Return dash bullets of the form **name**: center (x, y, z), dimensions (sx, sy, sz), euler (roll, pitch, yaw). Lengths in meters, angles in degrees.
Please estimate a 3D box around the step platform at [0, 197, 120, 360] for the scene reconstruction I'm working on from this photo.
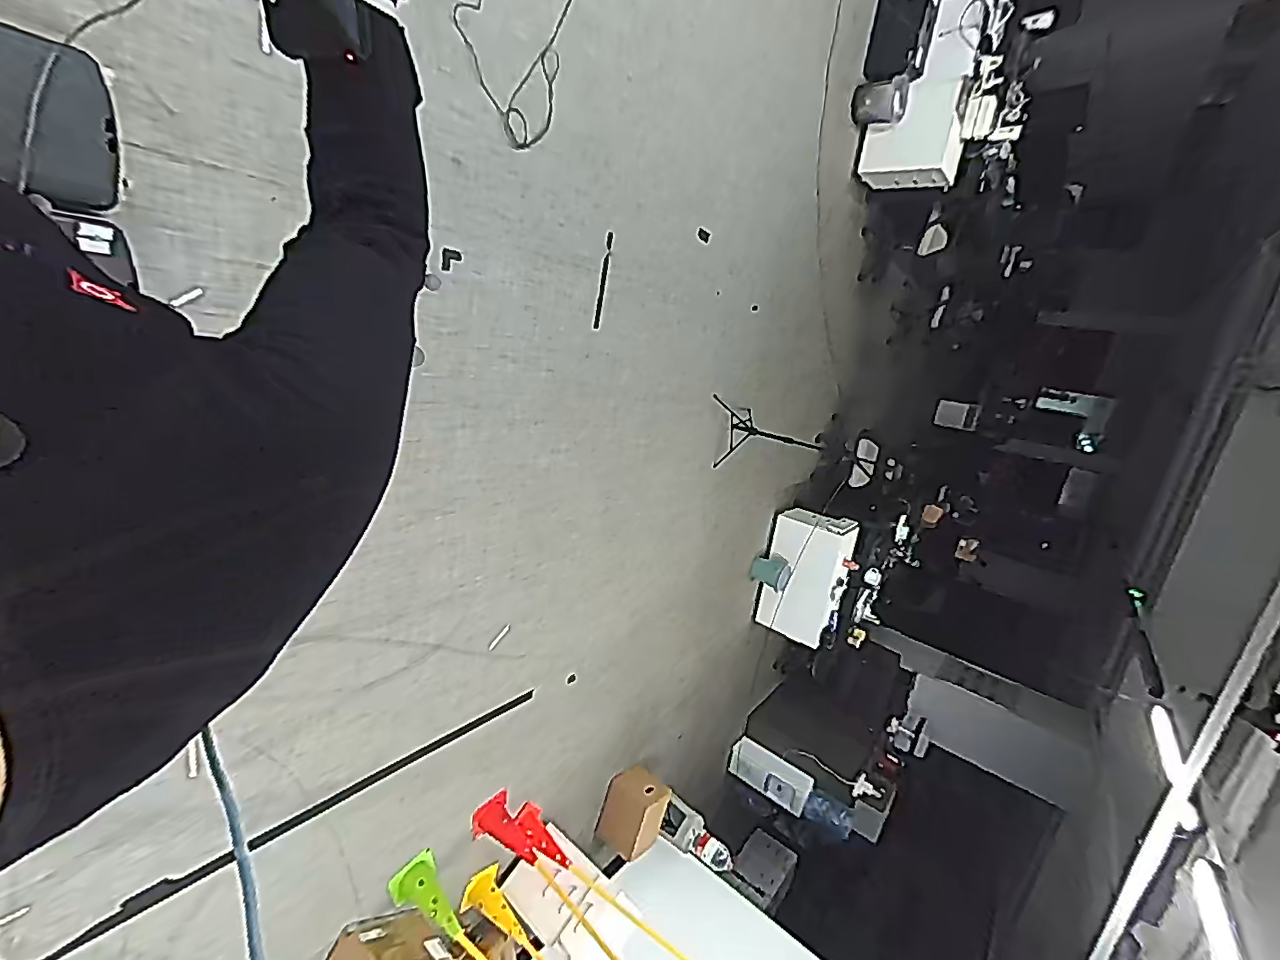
- **step platform**: center (-1.308, -0.349, 0.869), dimensions (0.684, 0.204, 0.286), euler (-12, 115, -49)
